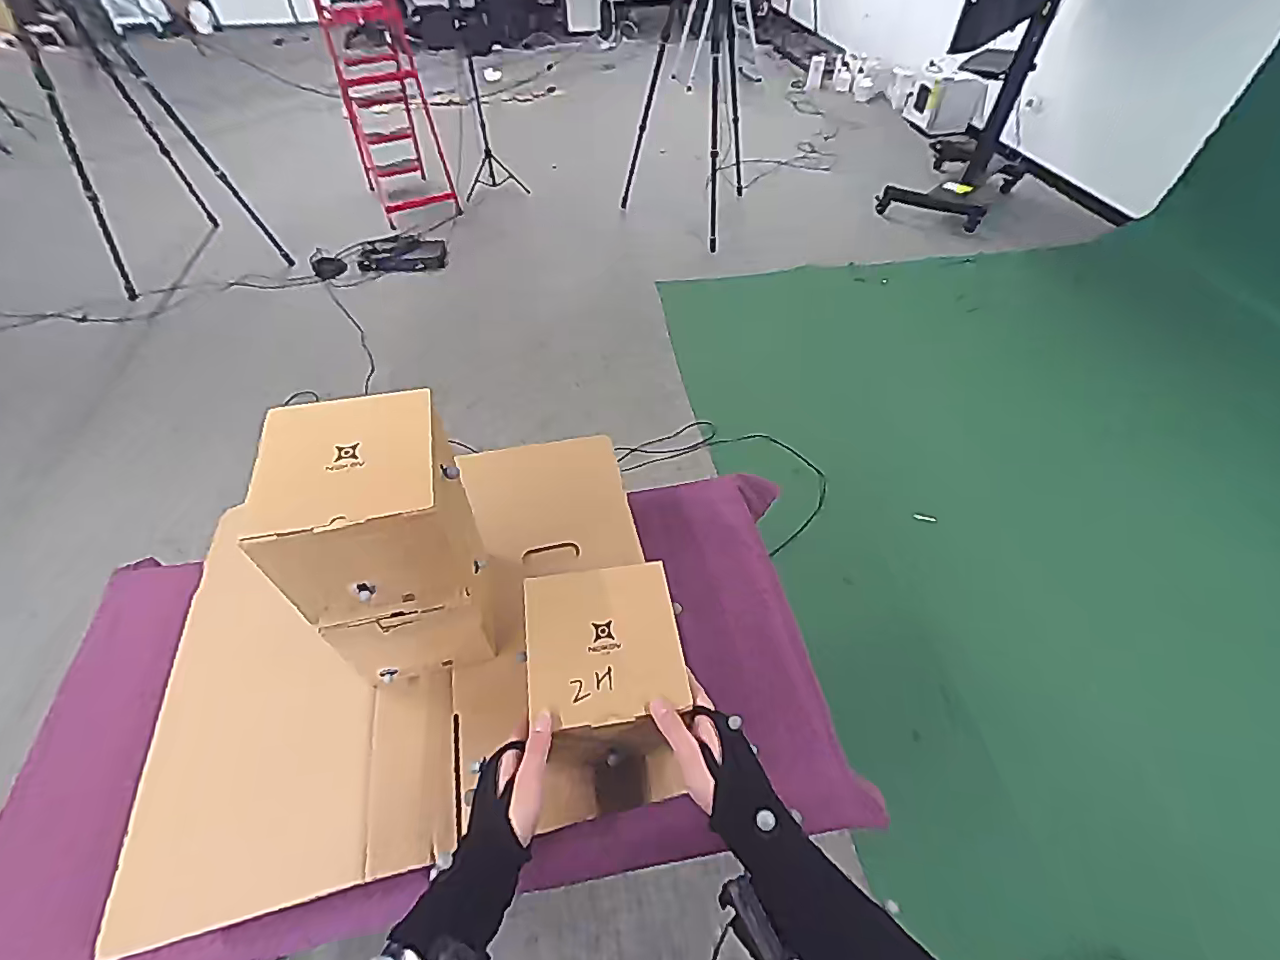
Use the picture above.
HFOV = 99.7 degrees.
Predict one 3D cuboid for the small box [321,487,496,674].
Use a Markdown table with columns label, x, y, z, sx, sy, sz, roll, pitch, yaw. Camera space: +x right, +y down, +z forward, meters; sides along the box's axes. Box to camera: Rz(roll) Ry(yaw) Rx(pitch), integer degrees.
| label | x | y | z | sx | sy | sz | roll | pitch | yaw |
| --- | --- | --- | --- | --- | --- | --- | --- | --- | --- |
| small box | -0.289 | 0.137 | 0.709 | 0.168 | 0.176 | 0.179 | -10 | 50 | -11 |

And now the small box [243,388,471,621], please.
| label | x | y | z | sx | sy | sz | roll | pitch | yaw |
| --- | --- | --- | --- | --- | --- | --- | --- | --- | --- |
| small box | -0.287 | 0.026 | 0.590 | 0.168 | 0.176 | 0.179 | -10 | 52 | -12 |
